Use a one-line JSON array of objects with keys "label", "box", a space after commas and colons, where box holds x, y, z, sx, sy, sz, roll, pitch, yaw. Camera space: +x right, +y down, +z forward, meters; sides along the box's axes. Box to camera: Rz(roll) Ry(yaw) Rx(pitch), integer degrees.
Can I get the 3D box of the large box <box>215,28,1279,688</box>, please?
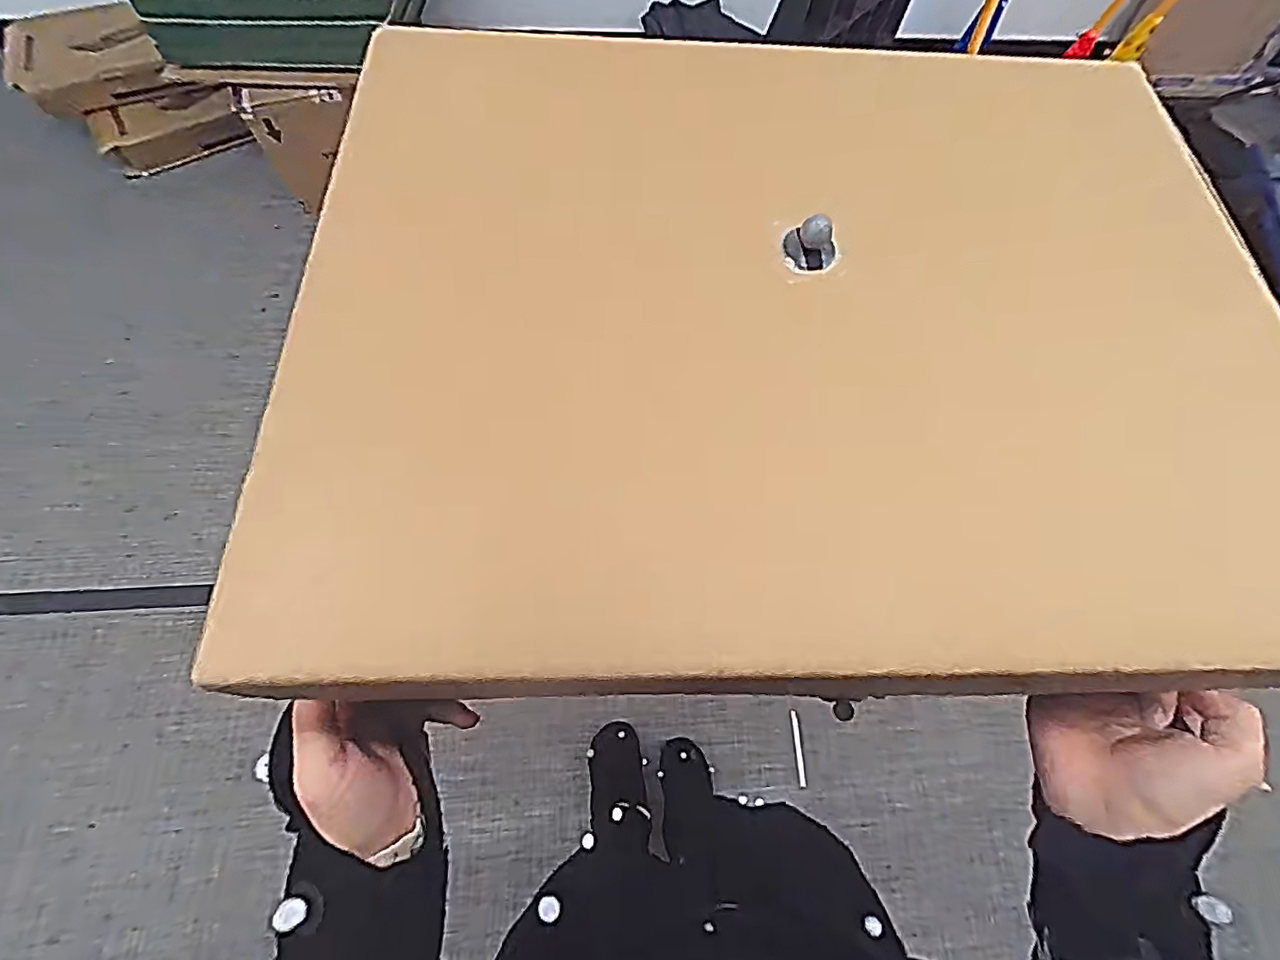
[{"label": "large box", "box": [0.059, -0.036, 0.359, 0.408, 0.320, 0.320, -1, 69, -2]}]
